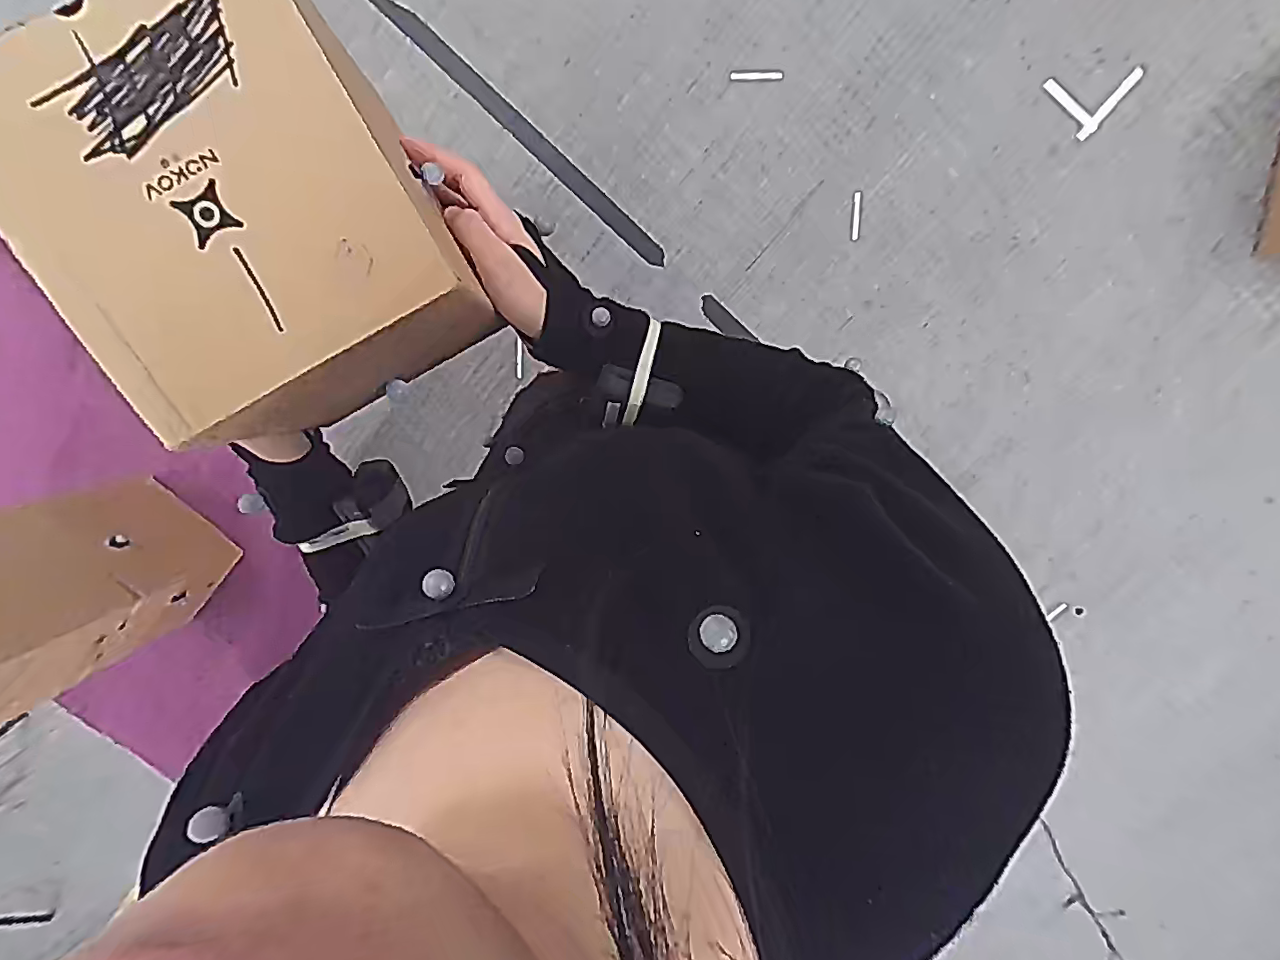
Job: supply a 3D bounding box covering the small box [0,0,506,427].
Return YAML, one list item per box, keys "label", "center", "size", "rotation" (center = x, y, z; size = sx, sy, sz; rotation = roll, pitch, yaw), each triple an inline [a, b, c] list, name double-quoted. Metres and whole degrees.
- label: "small box"
  center: [-0.200, -0.148, 0.318]
  size: [0.168, 0.176, 0.179]
  rotation: [-29, 102, 0]

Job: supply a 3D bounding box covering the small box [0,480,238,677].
- label: "small box"
  center: [-0.716, 0.122, 0.744]
  size: [0.179, 0.176, 0.168]
  rotation: [43, 102, -6]

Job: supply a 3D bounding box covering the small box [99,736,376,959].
- label: "small box"
  center: [-0.452, 0.451, 0.635]
  size: [0.168, 0.176, 0.179]
  rotation: [38, 104, -6]
